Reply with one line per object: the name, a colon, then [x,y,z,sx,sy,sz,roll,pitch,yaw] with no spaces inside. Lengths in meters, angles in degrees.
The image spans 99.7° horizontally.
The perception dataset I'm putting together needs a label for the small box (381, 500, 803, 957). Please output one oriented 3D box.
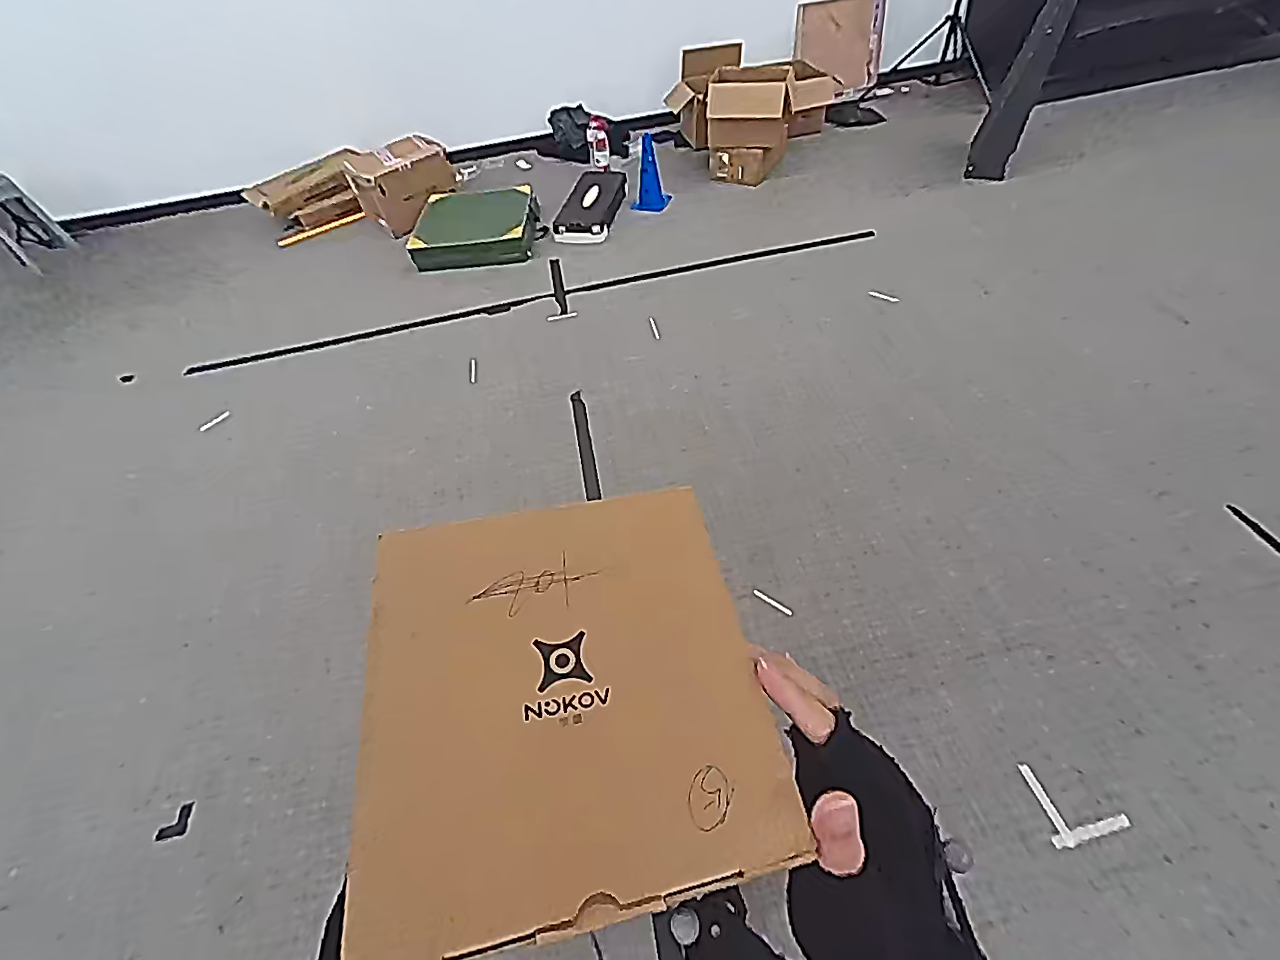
small box: [-0.033,0.139,0.314,0.168,0.176,0.179,-8,51,-11]
